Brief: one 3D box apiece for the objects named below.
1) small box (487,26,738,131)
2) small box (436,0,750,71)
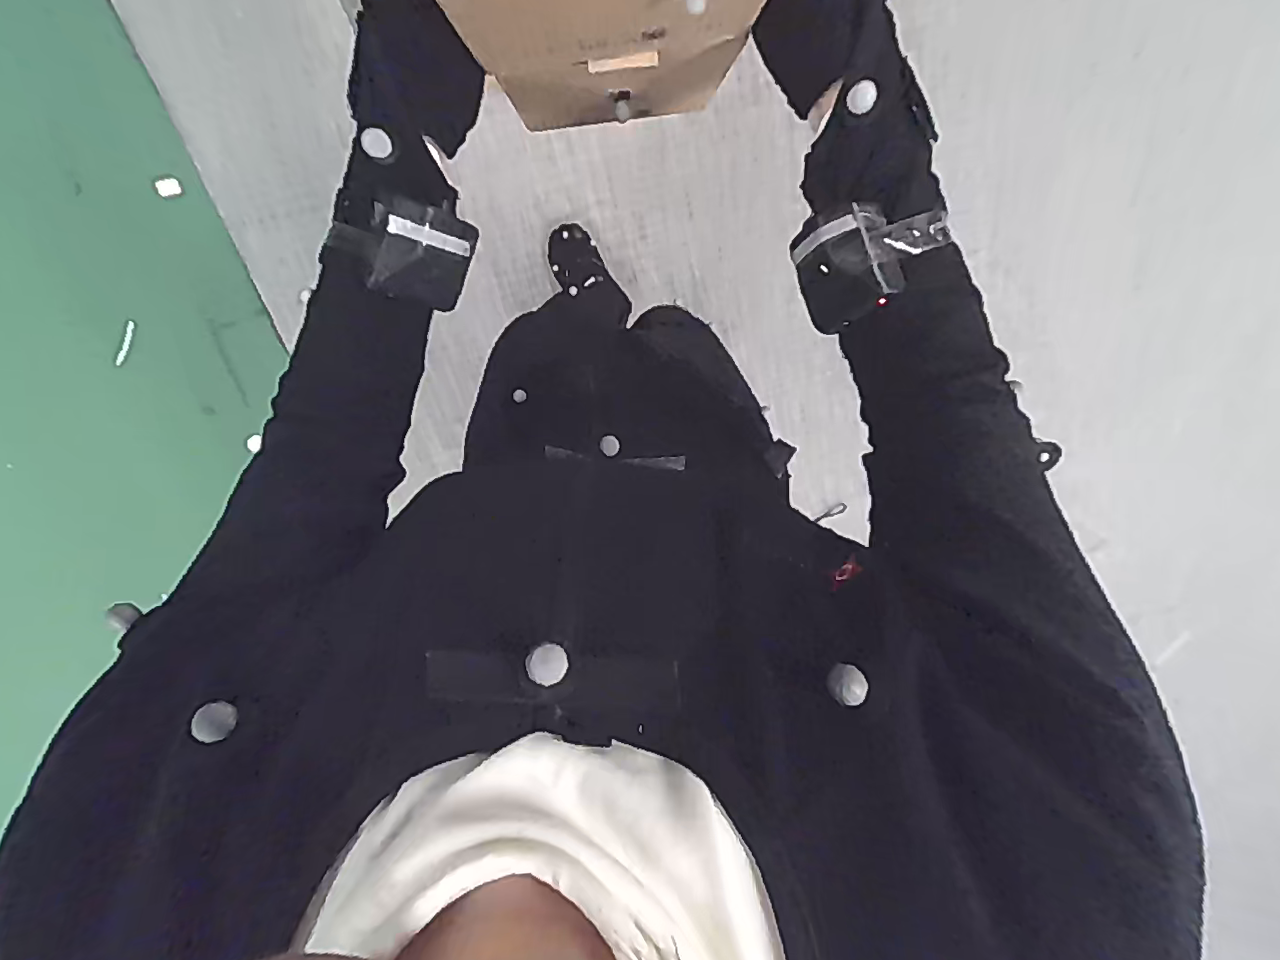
[{"bbox_3d":[-0.027,-0.373,0.393,0.168,0.176,0.179,-7,112,1],"label":"small box"},{"bbox_3d":[-0.026,-0.314,0.241,0.168,0.176,0.179,-8,110,0],"label":"small box"}]
